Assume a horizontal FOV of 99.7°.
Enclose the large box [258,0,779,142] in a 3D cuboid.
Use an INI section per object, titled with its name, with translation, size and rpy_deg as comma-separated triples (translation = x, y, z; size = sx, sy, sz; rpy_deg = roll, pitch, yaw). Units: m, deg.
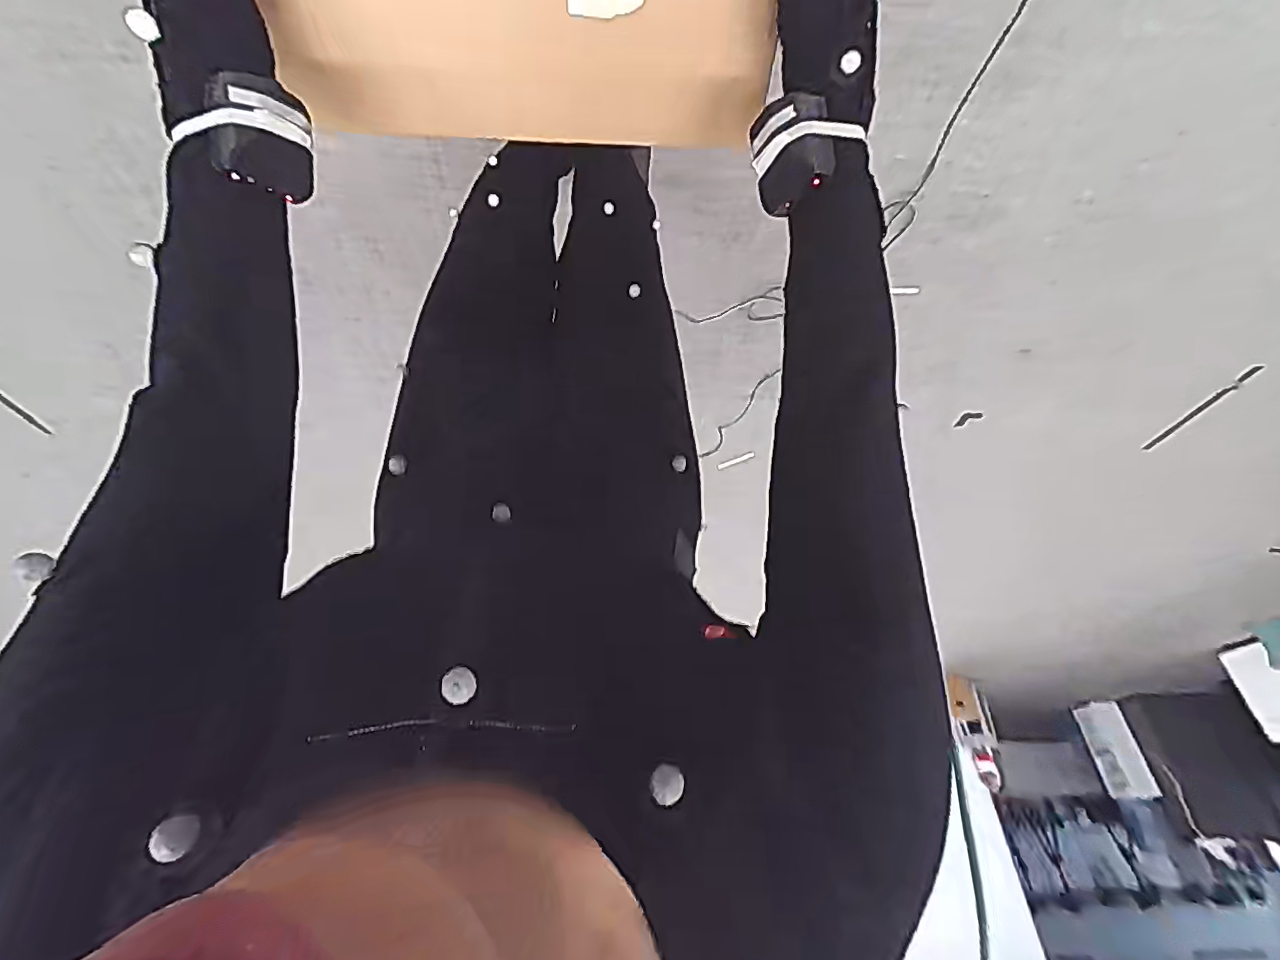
[large box]
translation = -0.096, -0.516, 0.470
size = 0.408, 0.320, 0.320
rpy_deg = -1, 138, -3
